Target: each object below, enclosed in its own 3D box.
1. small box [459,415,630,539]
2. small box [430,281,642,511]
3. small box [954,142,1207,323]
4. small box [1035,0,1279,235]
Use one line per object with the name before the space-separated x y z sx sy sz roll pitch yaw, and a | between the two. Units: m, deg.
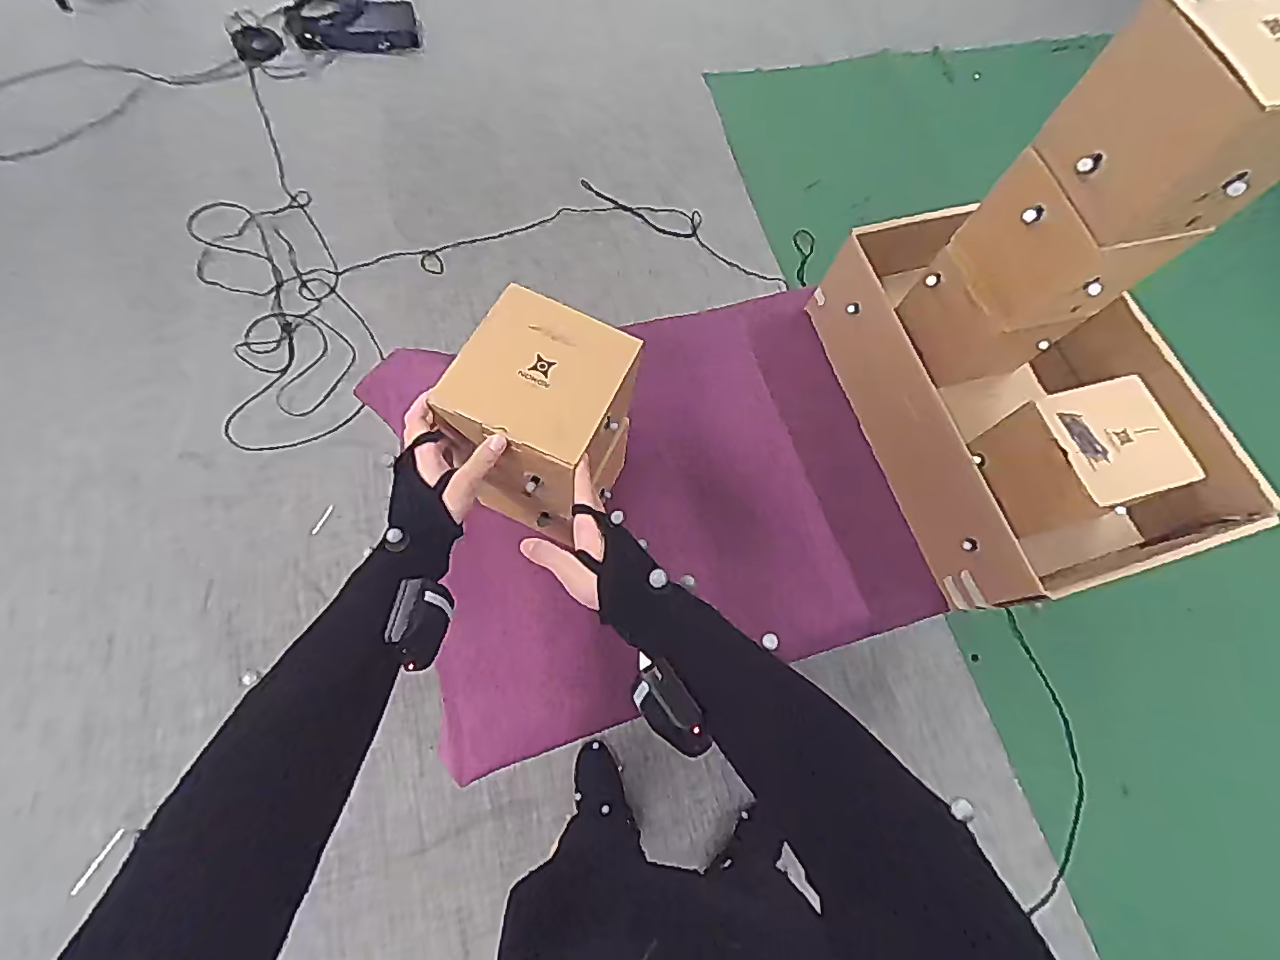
small box | -0.131 -0.028 0.796 0.179 0.176 0.168 25 69 5
small box | -0.113 -0.087 0.637 0.168 0.176 0.179 25 66 1
small box | 0.580 -0.335 0.740 0.168 0.176 0.179 -13 72 -8
small box | 0.592 -0.392 0.587 0.168 0.176 0.179 -13 73 -9
